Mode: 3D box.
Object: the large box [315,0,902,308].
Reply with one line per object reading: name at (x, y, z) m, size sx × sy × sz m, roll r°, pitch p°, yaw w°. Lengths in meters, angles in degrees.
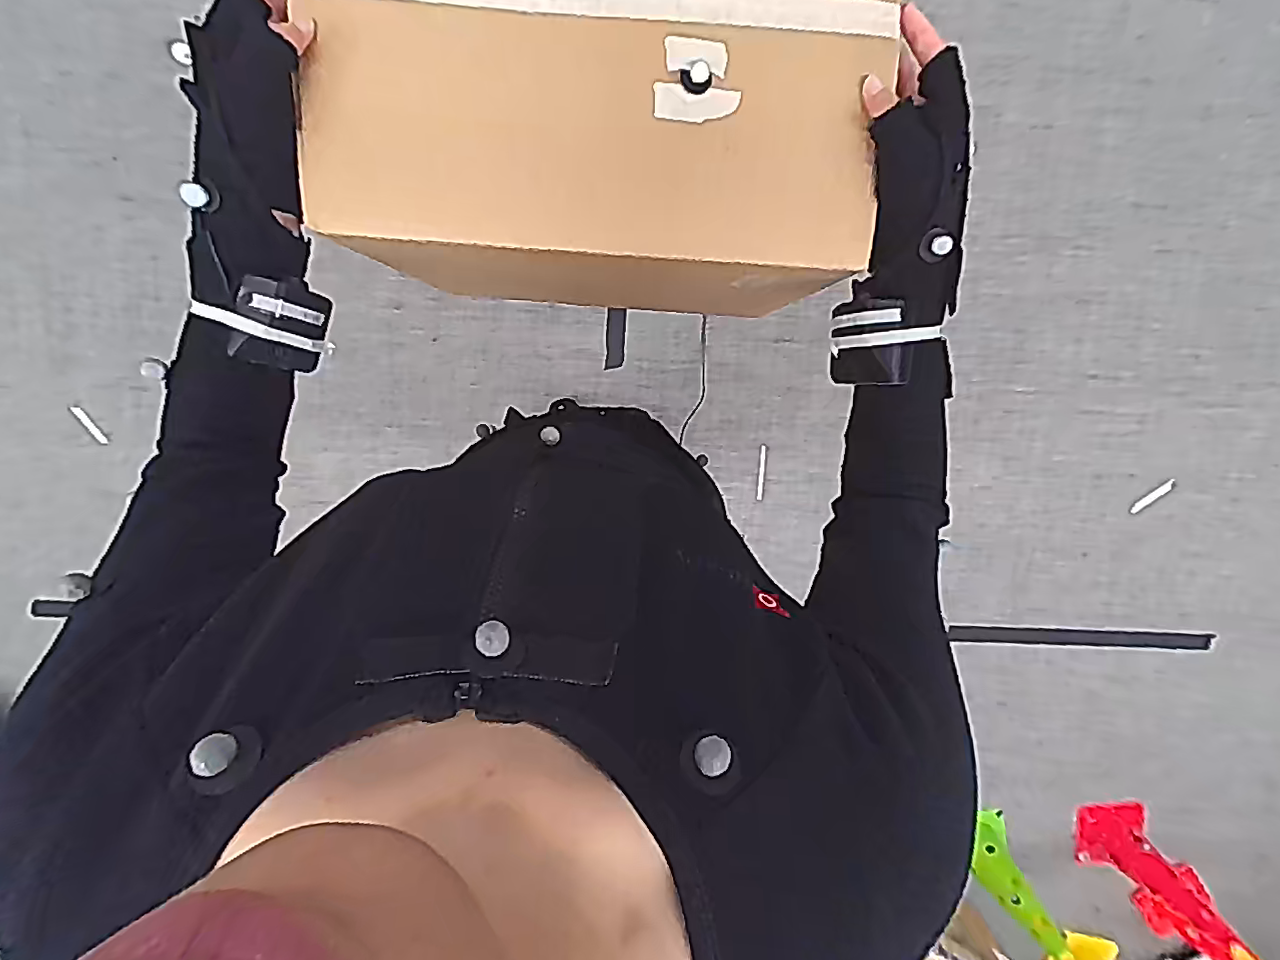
large box at (-0.025, -0.349, 0.513) m, size 0.408 × 0.320 × 0.320 m, roll 3°, pitch 101°, yaw -3°
